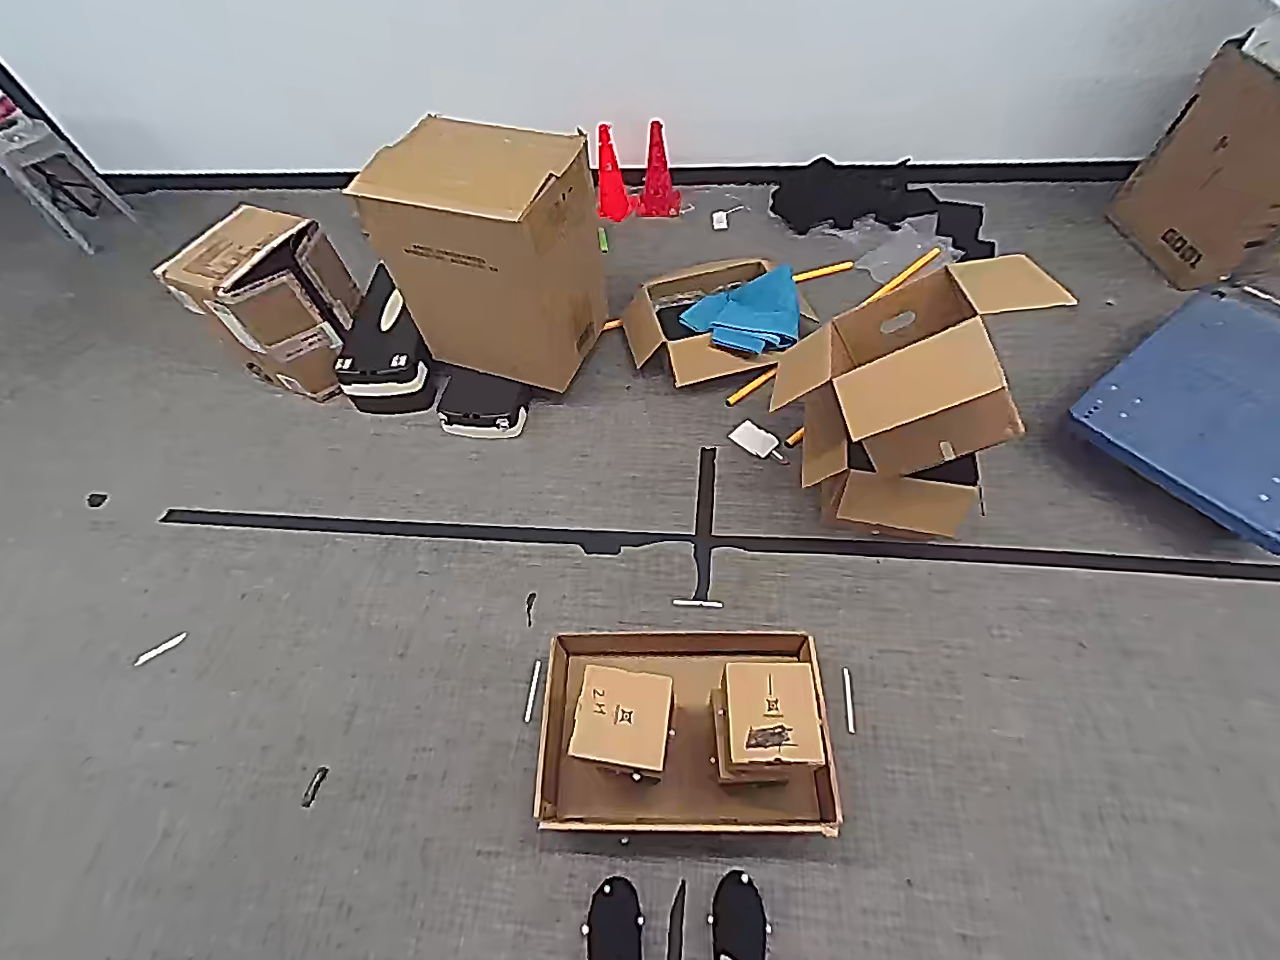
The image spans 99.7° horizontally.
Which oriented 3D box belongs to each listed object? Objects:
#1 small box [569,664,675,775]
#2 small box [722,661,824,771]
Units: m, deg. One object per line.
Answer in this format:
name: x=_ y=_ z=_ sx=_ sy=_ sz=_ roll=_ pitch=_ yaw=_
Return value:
small box: x=-0.027 y=0.481 z=1.076 sx=0.179 sy=0.176 sz=0.168 roll=6 pitch=58 yaw=7
small box: x=0.252 y=0.467 z=1.062 sx=0.168 sy=0.176 sz=0.179 roll=-1 pitch=56 yaw=4
